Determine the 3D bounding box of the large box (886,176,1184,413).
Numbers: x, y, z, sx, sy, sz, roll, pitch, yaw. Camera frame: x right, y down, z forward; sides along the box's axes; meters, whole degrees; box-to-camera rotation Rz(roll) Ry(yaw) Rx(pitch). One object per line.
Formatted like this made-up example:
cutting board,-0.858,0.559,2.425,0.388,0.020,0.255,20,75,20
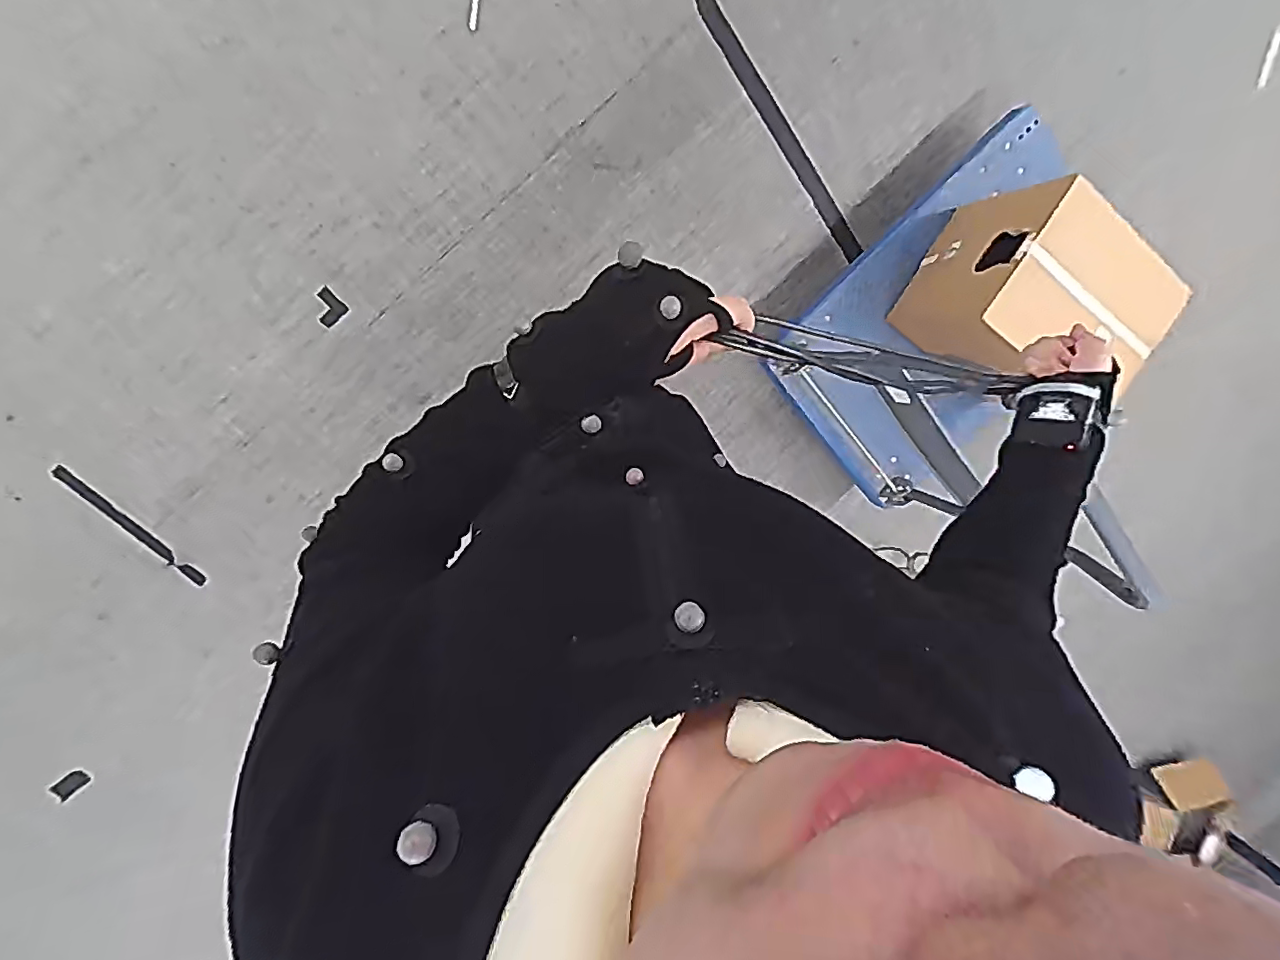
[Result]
large box,0.869,-0.399,1.232,0.408,0.320,0.320,29,99,-18
